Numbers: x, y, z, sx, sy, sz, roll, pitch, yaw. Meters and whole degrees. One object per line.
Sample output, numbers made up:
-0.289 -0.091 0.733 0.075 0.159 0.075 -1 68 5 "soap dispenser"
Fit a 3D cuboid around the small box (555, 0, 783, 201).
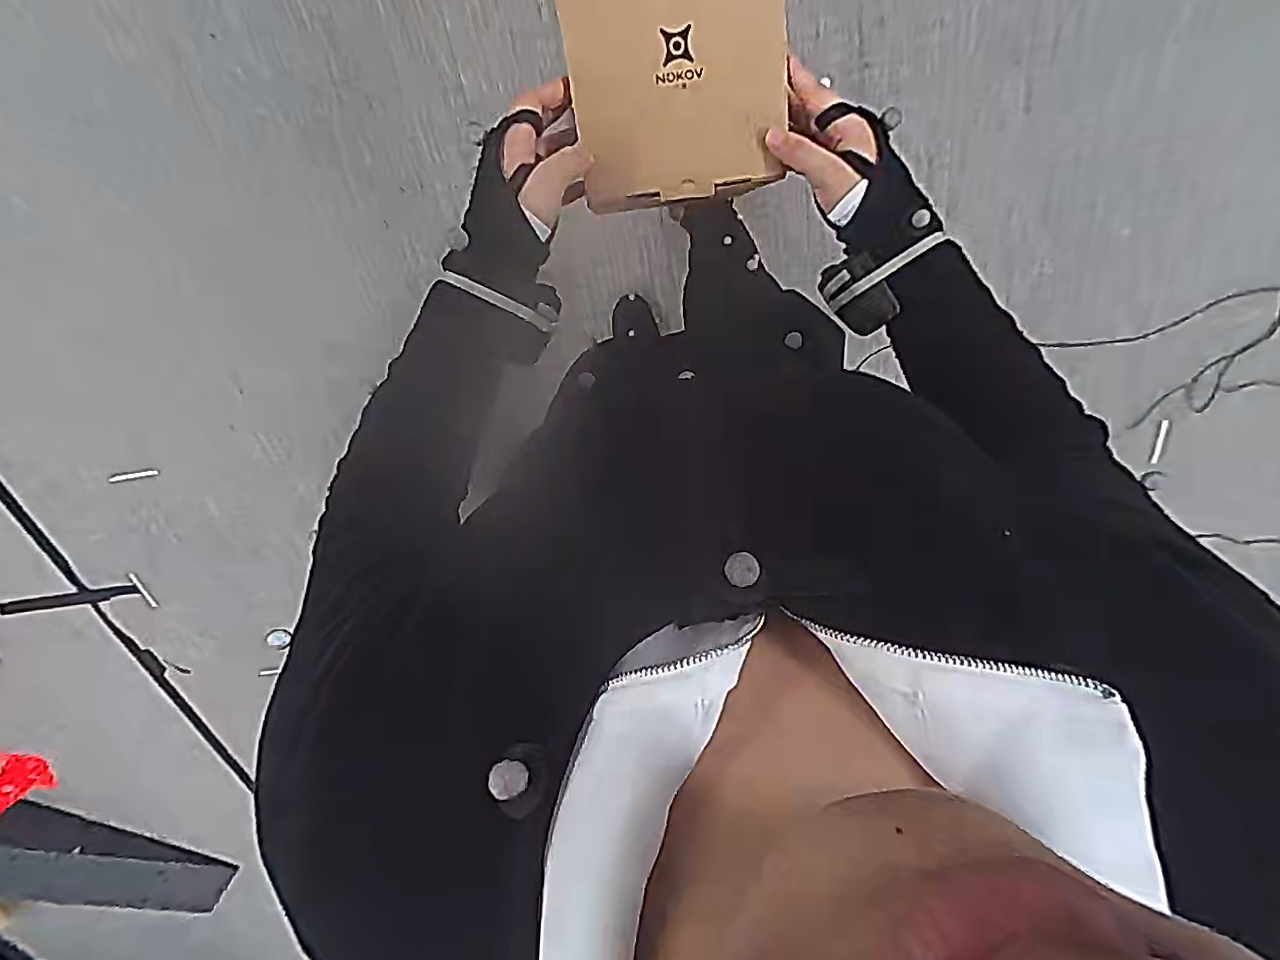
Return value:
0.023 -0.351 0.475 0.168 0.176 0.179 -7 114 1 "small box"
